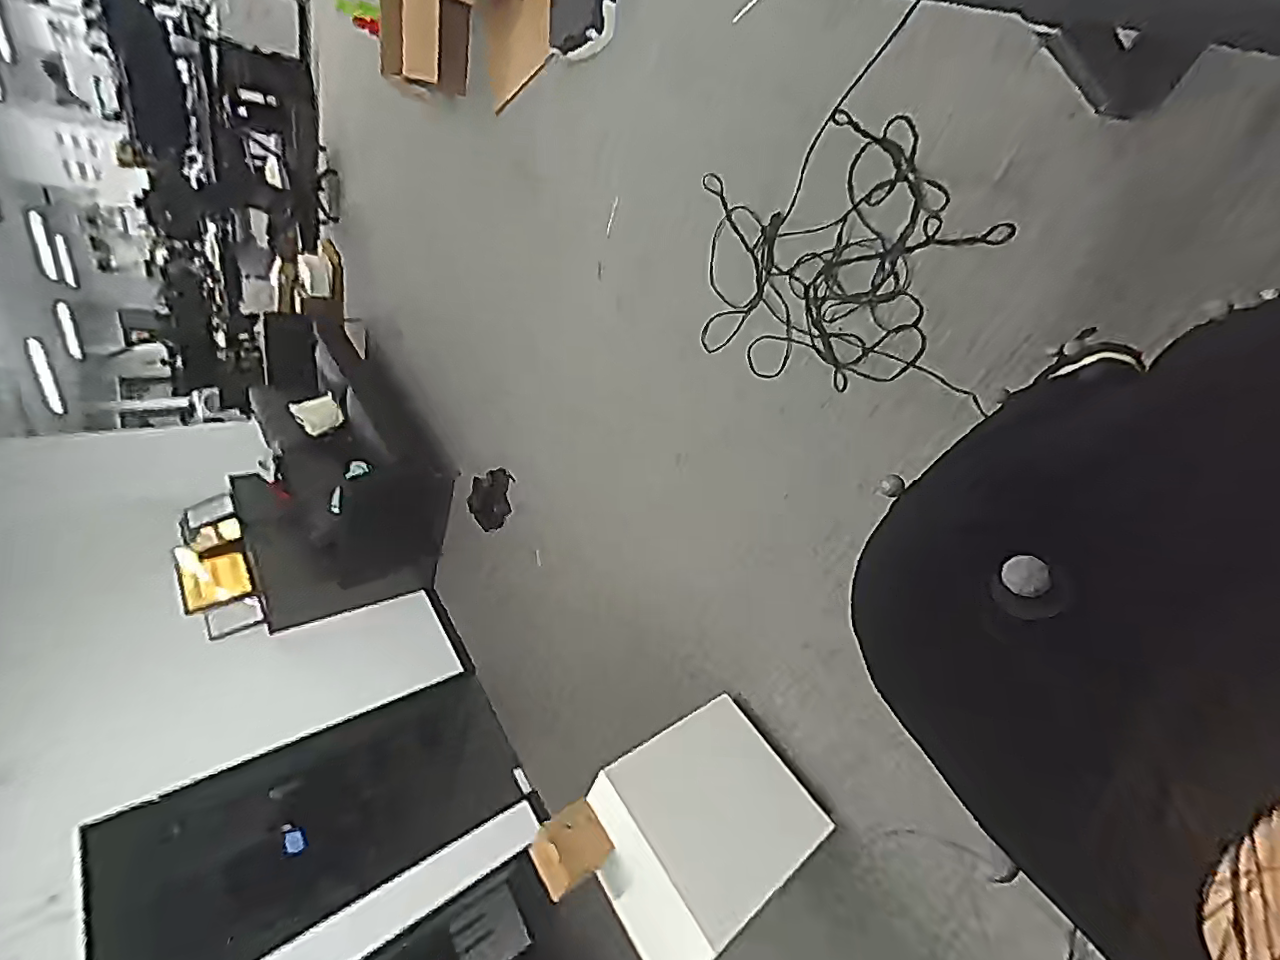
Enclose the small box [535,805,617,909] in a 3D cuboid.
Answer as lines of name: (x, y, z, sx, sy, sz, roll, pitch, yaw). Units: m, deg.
small box: (-0.190, 1.125, 1.624, 0.168, 0.176, 0.179, 46, 131, 33)
